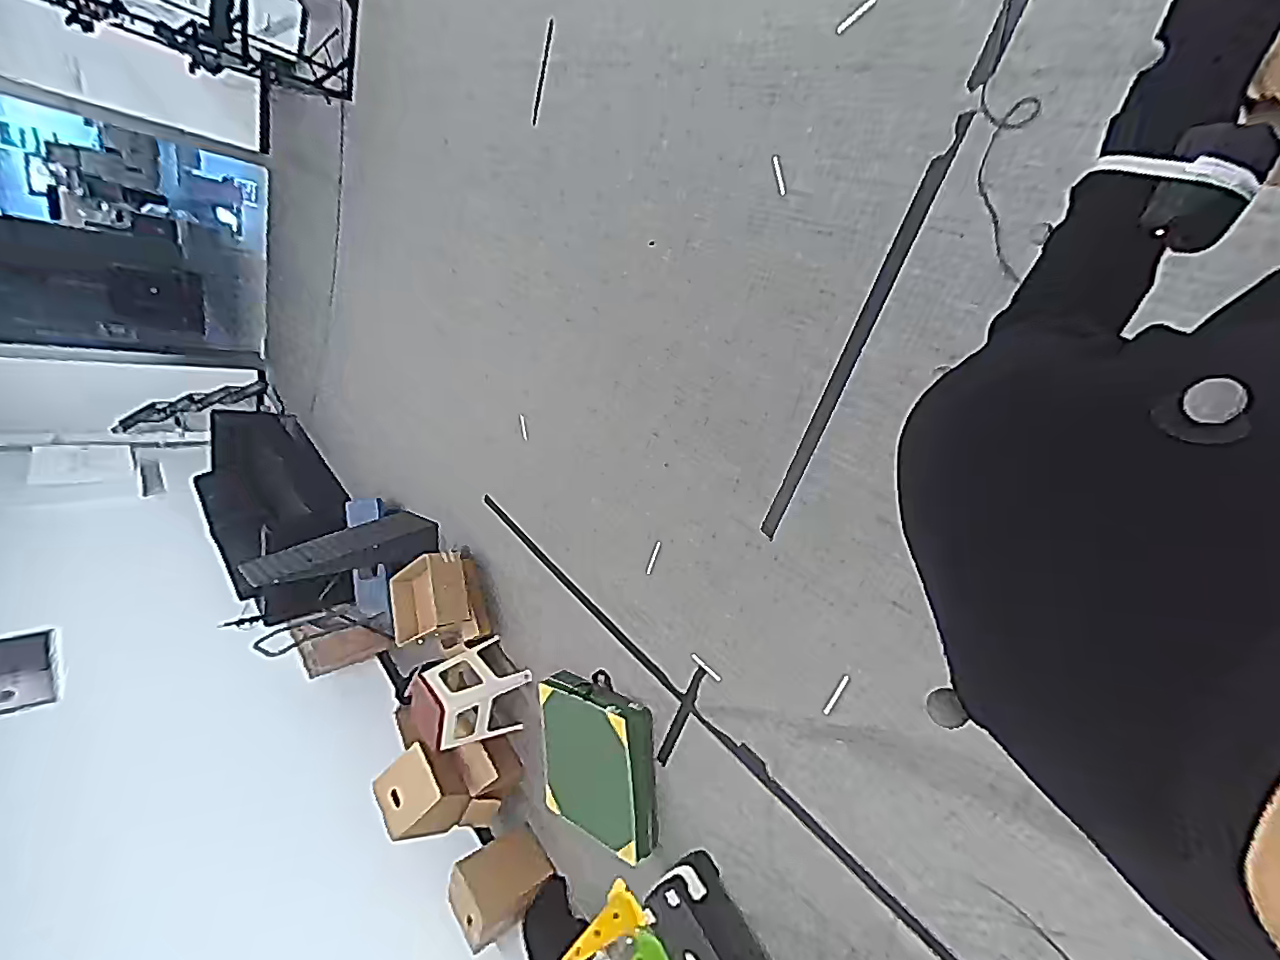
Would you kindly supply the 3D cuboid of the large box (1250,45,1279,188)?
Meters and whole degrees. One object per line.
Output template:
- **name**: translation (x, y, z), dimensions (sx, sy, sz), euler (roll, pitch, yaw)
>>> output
- **large box**: translation (0.646, -0.302, 0.247), dimensions (0.408, 0.320, 0.320), euler (37, 127, 36)
